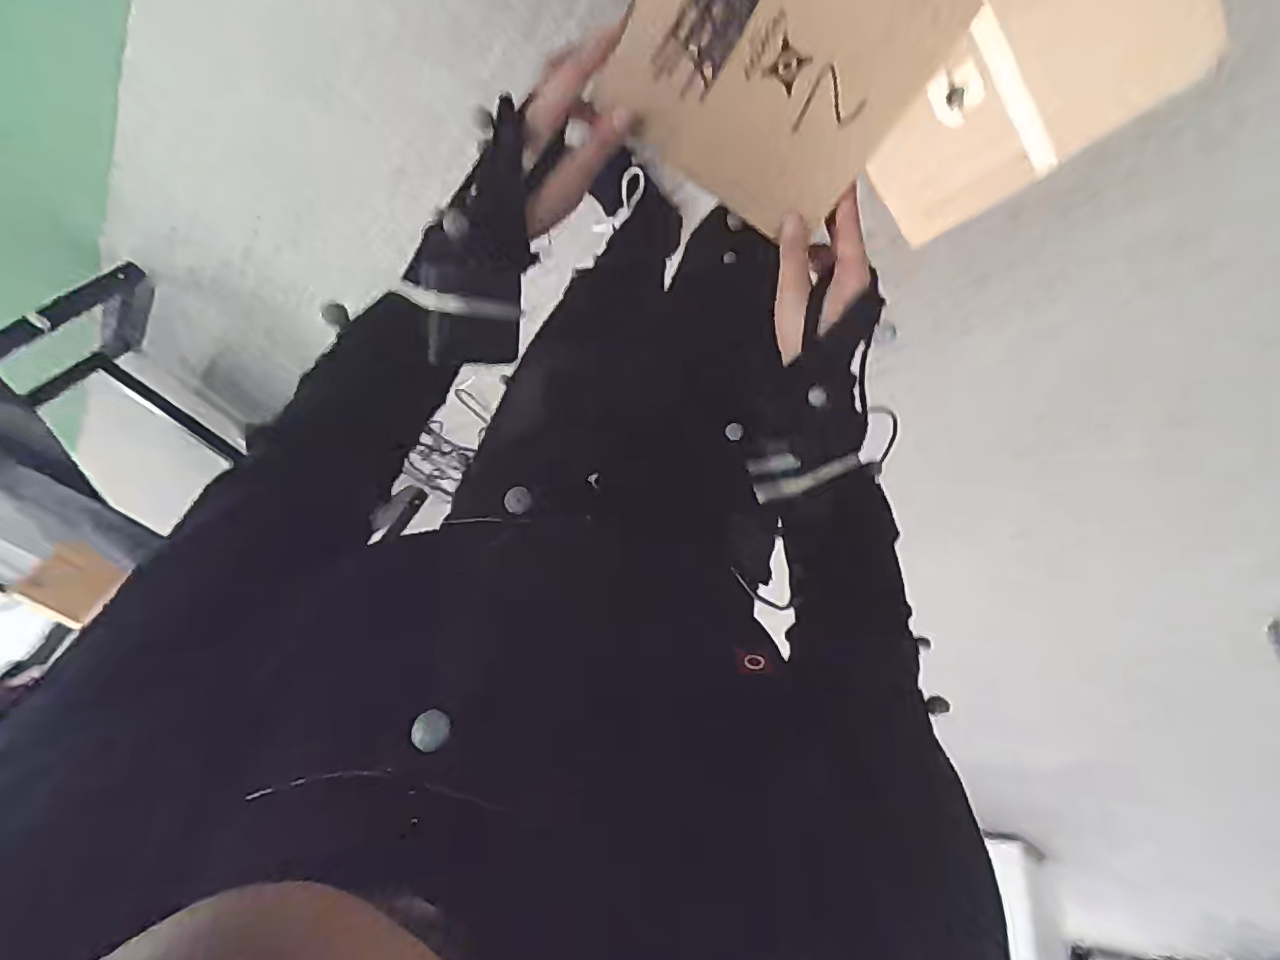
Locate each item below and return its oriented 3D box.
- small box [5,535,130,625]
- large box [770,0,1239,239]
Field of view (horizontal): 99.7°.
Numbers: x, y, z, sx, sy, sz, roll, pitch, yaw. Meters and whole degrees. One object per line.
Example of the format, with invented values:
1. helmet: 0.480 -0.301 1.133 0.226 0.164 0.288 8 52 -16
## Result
1. small box: -1.590 0.282 1.514 0.168 0.176 0.179 -23 122 41
2. large box: 0.385 -0.596 0.641 0.320 0.320 0.408 -24 123 42
